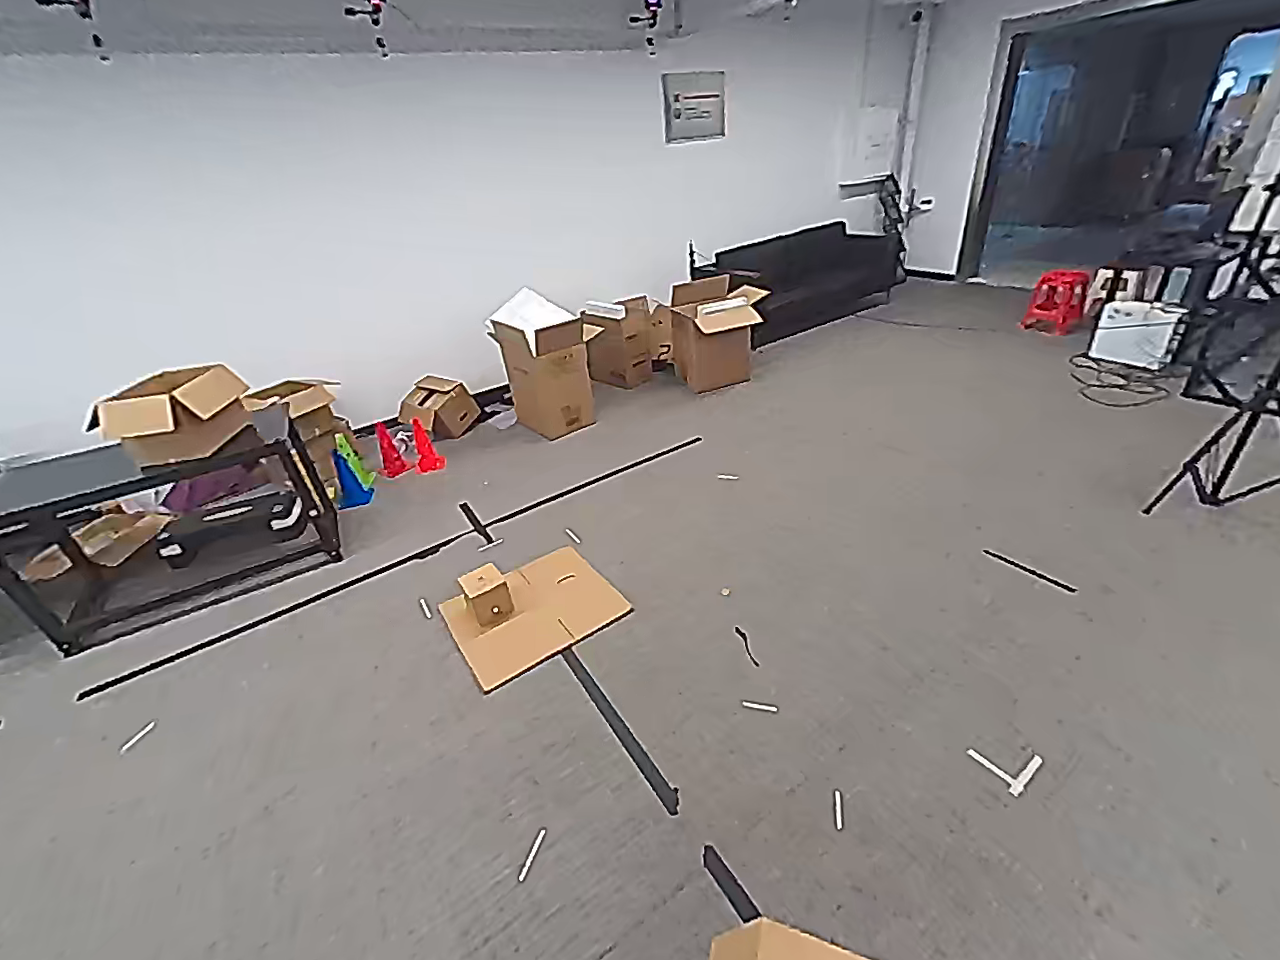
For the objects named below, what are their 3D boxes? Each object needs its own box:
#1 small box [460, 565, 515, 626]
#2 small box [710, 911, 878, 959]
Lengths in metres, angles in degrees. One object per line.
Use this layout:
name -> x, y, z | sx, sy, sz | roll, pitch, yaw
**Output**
small box -> -0.681, 0.516, 2.413 | 0.168, 0.176, 0.179 | -25, 35, -27
small box -> 0.153, 0.547, 0.506 | 0.179, 0.176, 0.168 | 20, 44, 3
